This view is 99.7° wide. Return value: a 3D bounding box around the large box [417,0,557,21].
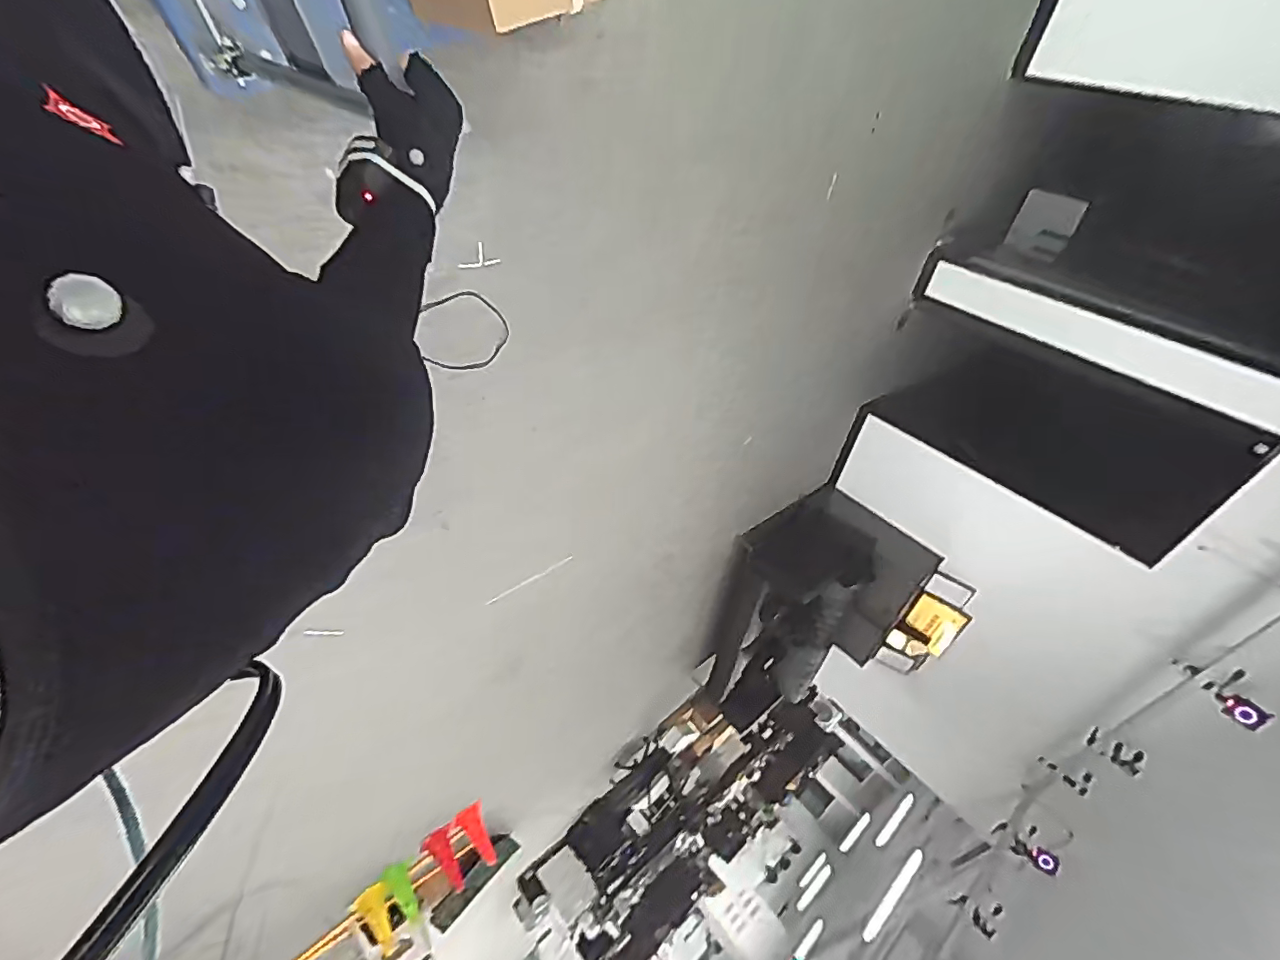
[{"bbox_3d":[-0.234,-1.006,0.824,0.320,0.320,0.408,-37,145,-20],"label":"large box"}]
